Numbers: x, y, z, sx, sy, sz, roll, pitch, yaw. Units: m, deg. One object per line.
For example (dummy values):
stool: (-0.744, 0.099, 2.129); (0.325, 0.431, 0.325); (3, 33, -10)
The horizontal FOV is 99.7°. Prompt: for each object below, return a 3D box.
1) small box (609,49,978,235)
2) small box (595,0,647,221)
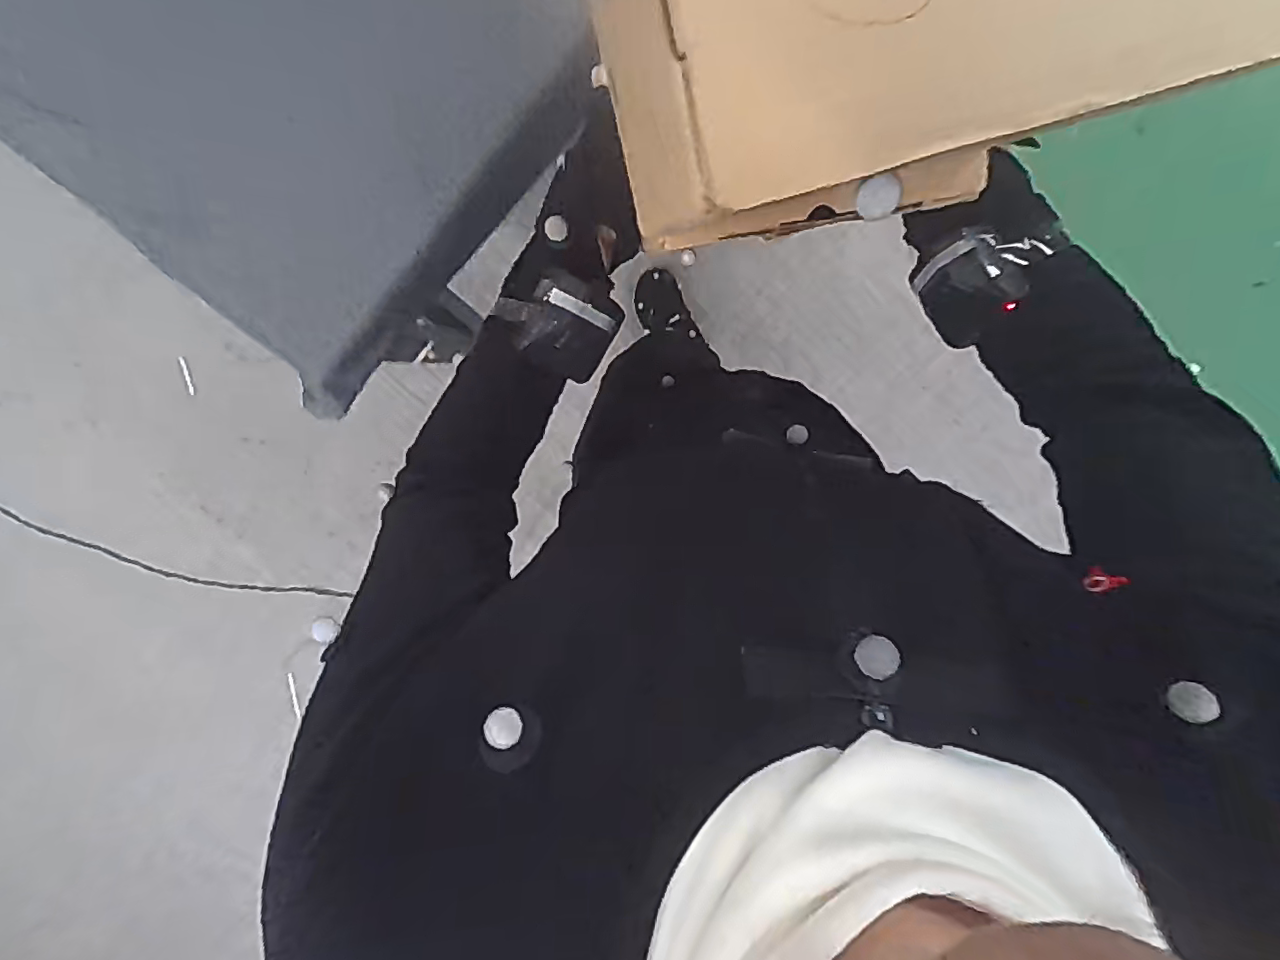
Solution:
small box: (0.069, -0.254, 0.314); (0.168, 0.176, 0.179); (-12, 114, 2)
small box: (0.059, -0.325, 0.464); (0.179, 0.176, 0.168); (-8, 114, 2)
